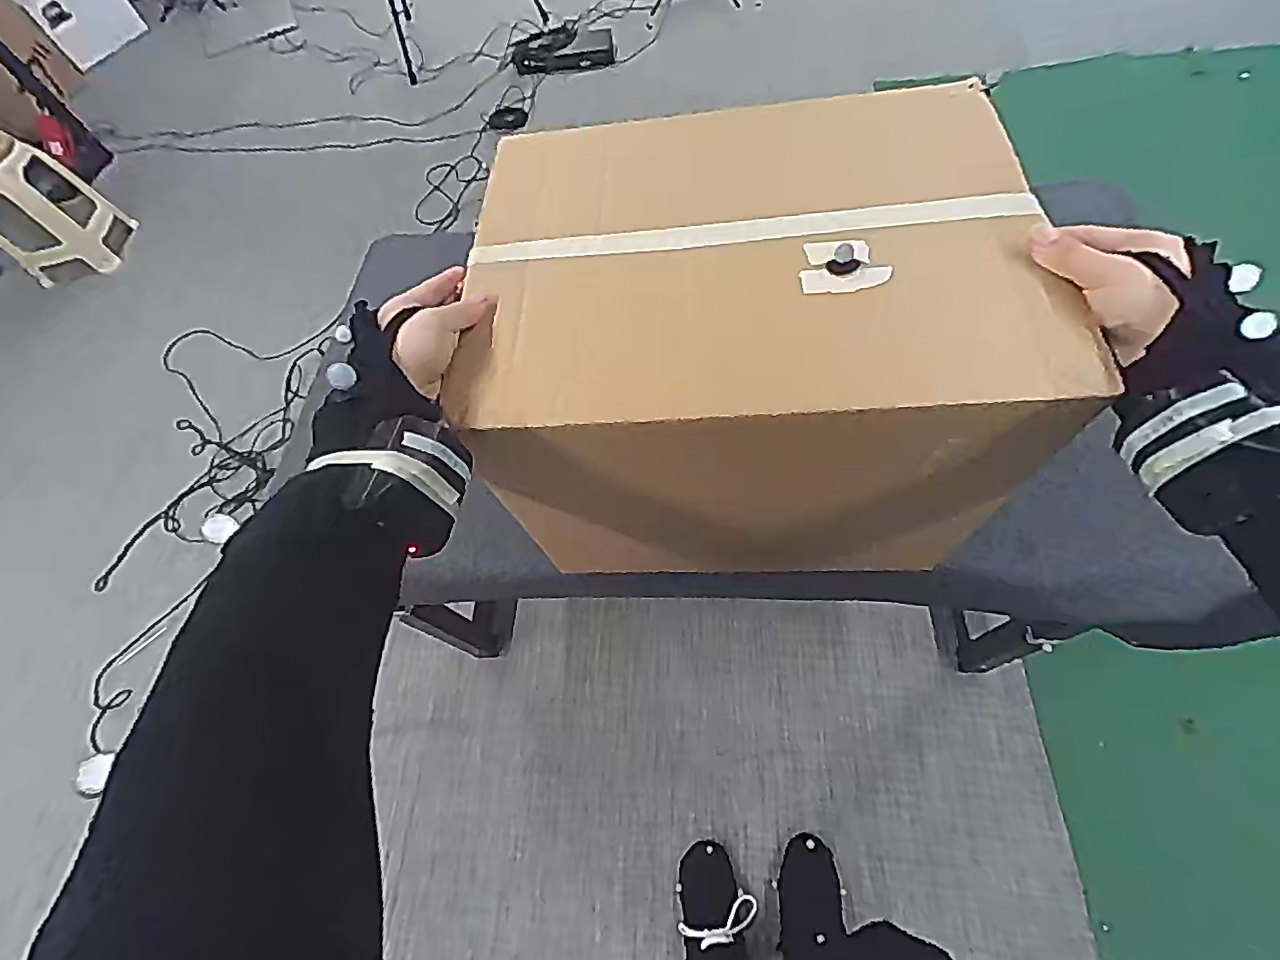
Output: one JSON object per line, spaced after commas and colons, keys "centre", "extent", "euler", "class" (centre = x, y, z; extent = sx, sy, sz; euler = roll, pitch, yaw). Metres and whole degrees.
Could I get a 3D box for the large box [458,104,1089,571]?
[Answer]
{"centre": [0.089, -0.108, 0.541], "extent": [0.408, 0.320, 0.320], "euler": [-2, 63, 6], "class": "large box"}
